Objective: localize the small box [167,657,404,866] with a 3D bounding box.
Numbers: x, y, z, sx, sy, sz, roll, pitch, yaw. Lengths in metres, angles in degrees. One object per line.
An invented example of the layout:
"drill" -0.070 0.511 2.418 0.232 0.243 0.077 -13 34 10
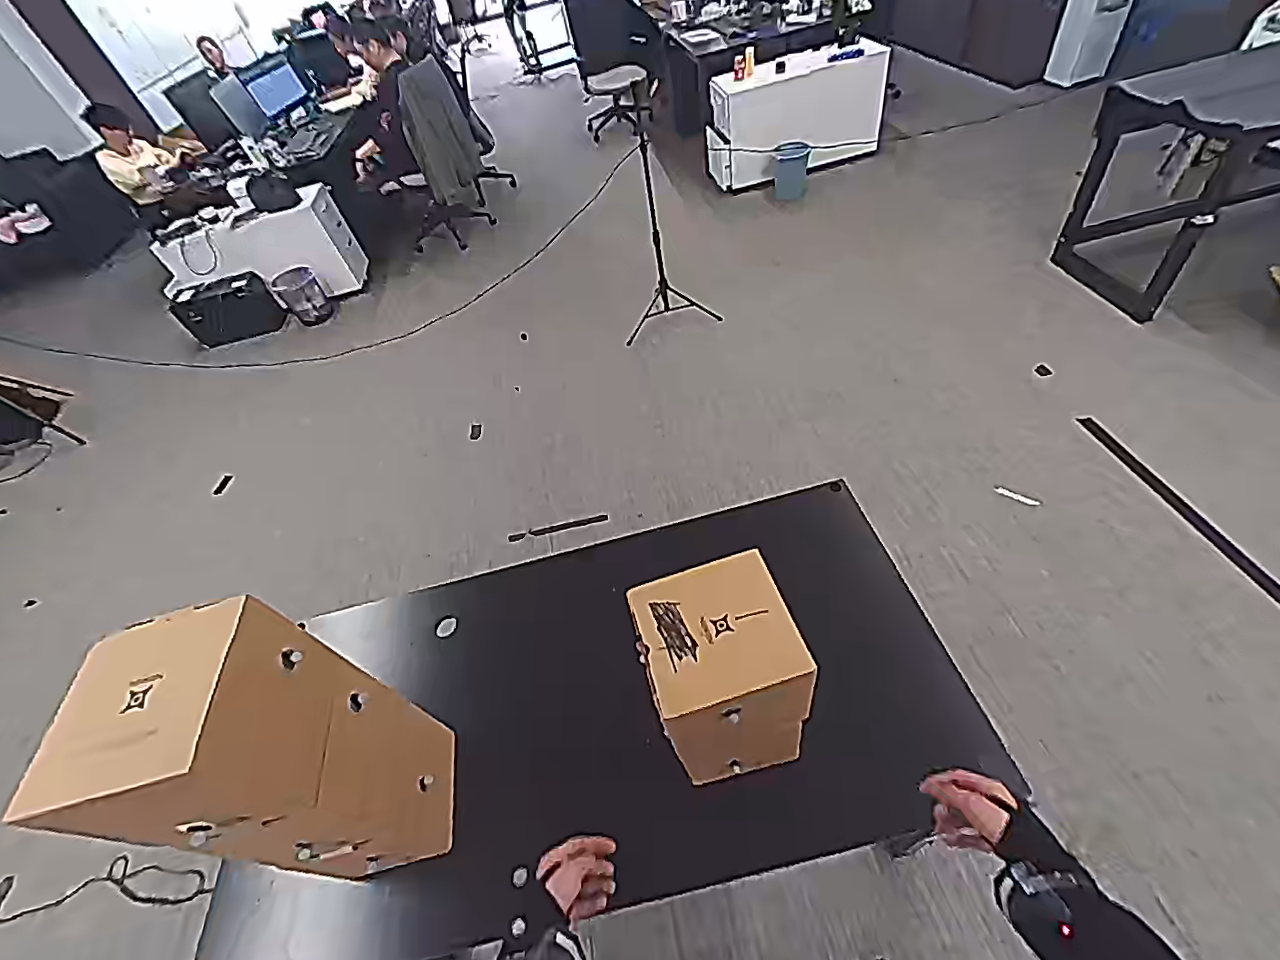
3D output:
"small box" -0.419 0.354 0.679 0.168 0.176 0.179 -16 48 0

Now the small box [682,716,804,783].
"small box" 0.128 0.320 0.802 0.168 0.176 0.179 -15 48 0

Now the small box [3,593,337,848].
"small box" -0.446 0.250 0.557 0.168 0.176 0.179 -17 49 0

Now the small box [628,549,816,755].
"small box" 0.100 0.219 0.675 0.179 0.176 0.168 -17 49 -3

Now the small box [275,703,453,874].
"small box" -0.390 0.462 0.801 0.168 0.176 0.179 -16 49 -1
